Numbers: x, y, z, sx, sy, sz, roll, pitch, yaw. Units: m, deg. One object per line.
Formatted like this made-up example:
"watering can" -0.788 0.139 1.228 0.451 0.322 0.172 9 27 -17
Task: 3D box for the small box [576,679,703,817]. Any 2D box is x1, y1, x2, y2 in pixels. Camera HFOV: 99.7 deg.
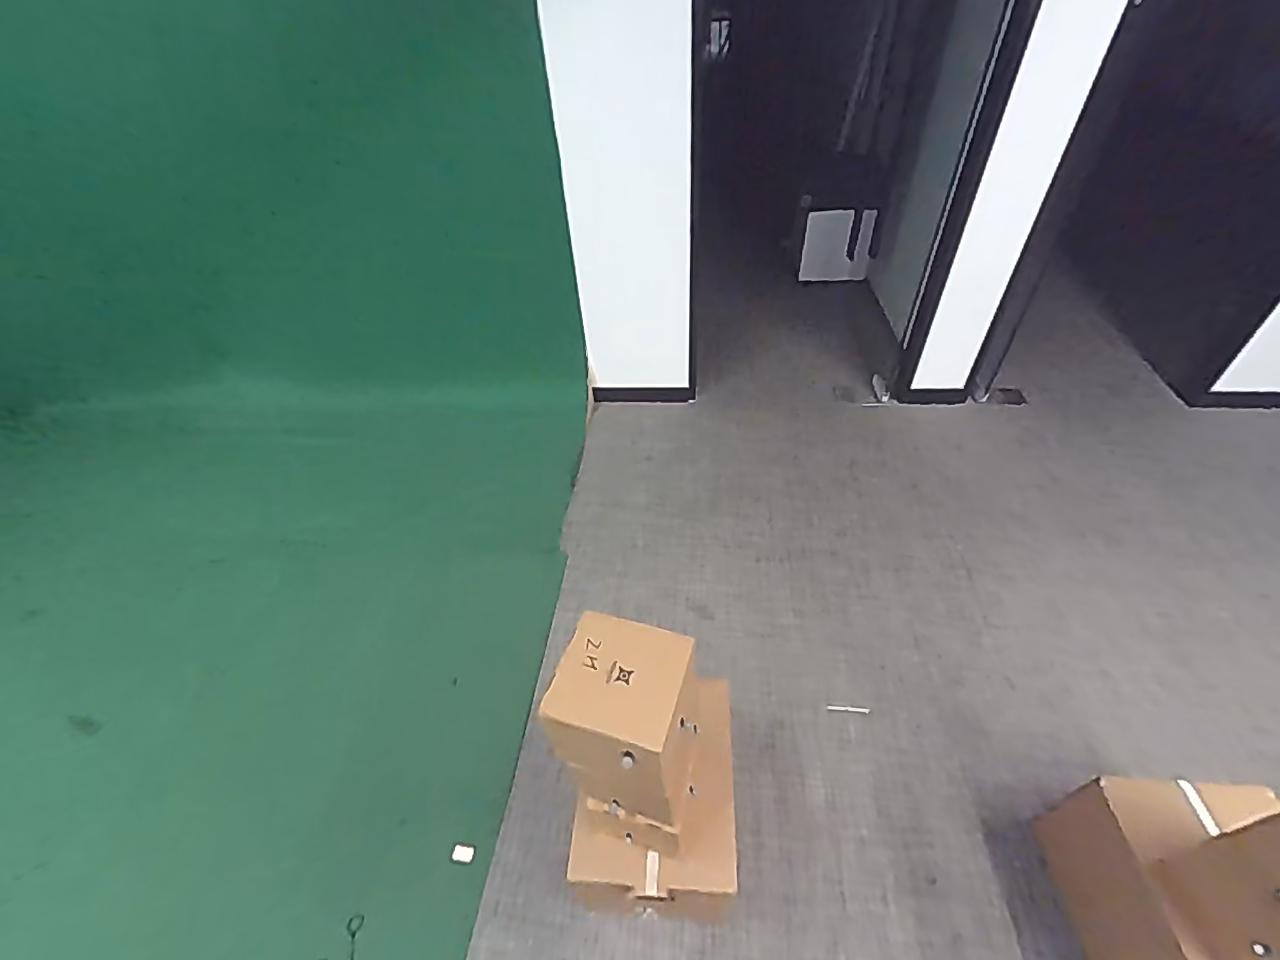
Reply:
"small box" 0.007 0.434 0.919 0.168 0.176 0.179 10 47 17

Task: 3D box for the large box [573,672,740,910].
"large box" 0.051 0.696 1.228 0.320 0.320 0.408 0 43 6

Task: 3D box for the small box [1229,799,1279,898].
"small box" 0.989 0.528 0.725 0.168 0.176 0.179 -6 45 1

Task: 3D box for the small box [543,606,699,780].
"small box" -0.016 0.318 0.803 0.179 0.176 0.168 10 46 17

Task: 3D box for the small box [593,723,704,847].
"small box" 0.023 0.557 1.024 0.168 0.176 0.179 8 46 14
